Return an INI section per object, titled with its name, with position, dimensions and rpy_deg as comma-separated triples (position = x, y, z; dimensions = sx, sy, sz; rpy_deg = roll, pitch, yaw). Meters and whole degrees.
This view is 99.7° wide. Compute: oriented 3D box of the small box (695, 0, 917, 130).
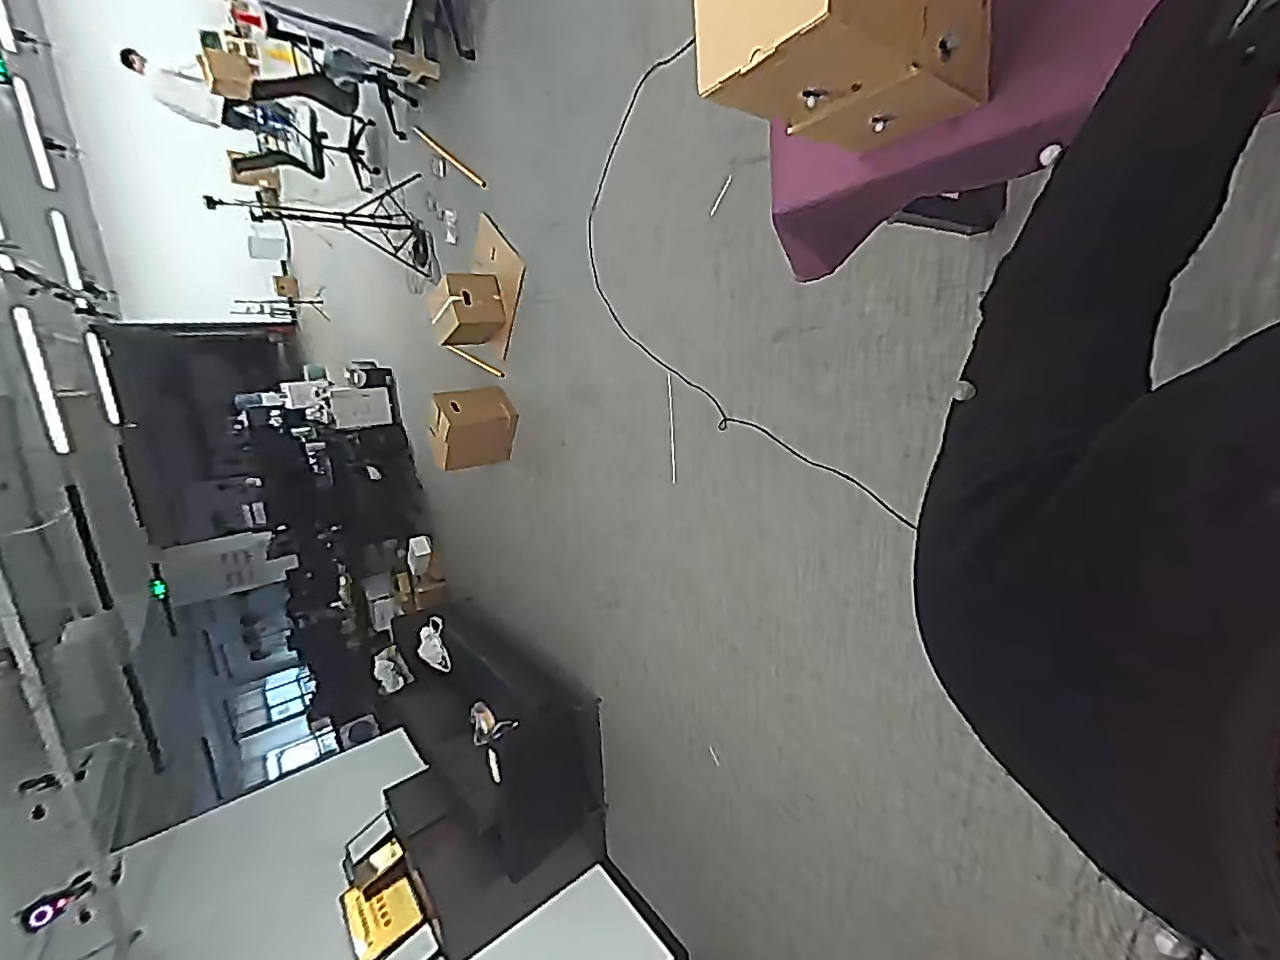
[small box]
position = 0.176, -0.509, 0.572
dimensions = 0.168, 0.176, 0.179
rpy_deg = 9, 108, 51
